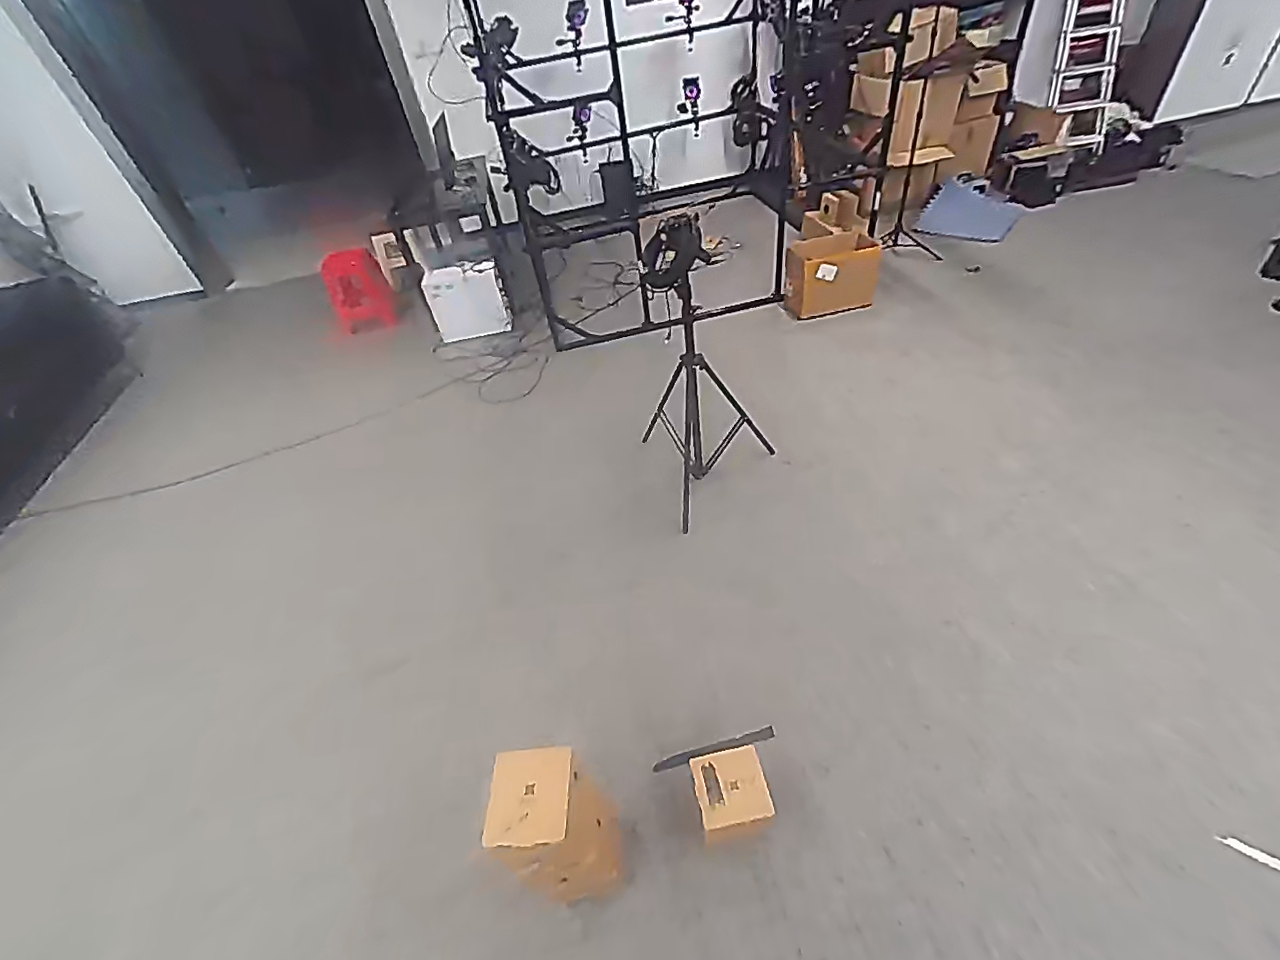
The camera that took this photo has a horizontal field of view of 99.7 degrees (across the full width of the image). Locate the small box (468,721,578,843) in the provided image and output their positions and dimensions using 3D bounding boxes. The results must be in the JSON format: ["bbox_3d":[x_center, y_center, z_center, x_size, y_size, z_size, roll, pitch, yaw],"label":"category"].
[{"bbox_3d":[-0.227,0.617,1.104,0.168,0.176,0.179,-7,45,5],"label":"small box"}]
